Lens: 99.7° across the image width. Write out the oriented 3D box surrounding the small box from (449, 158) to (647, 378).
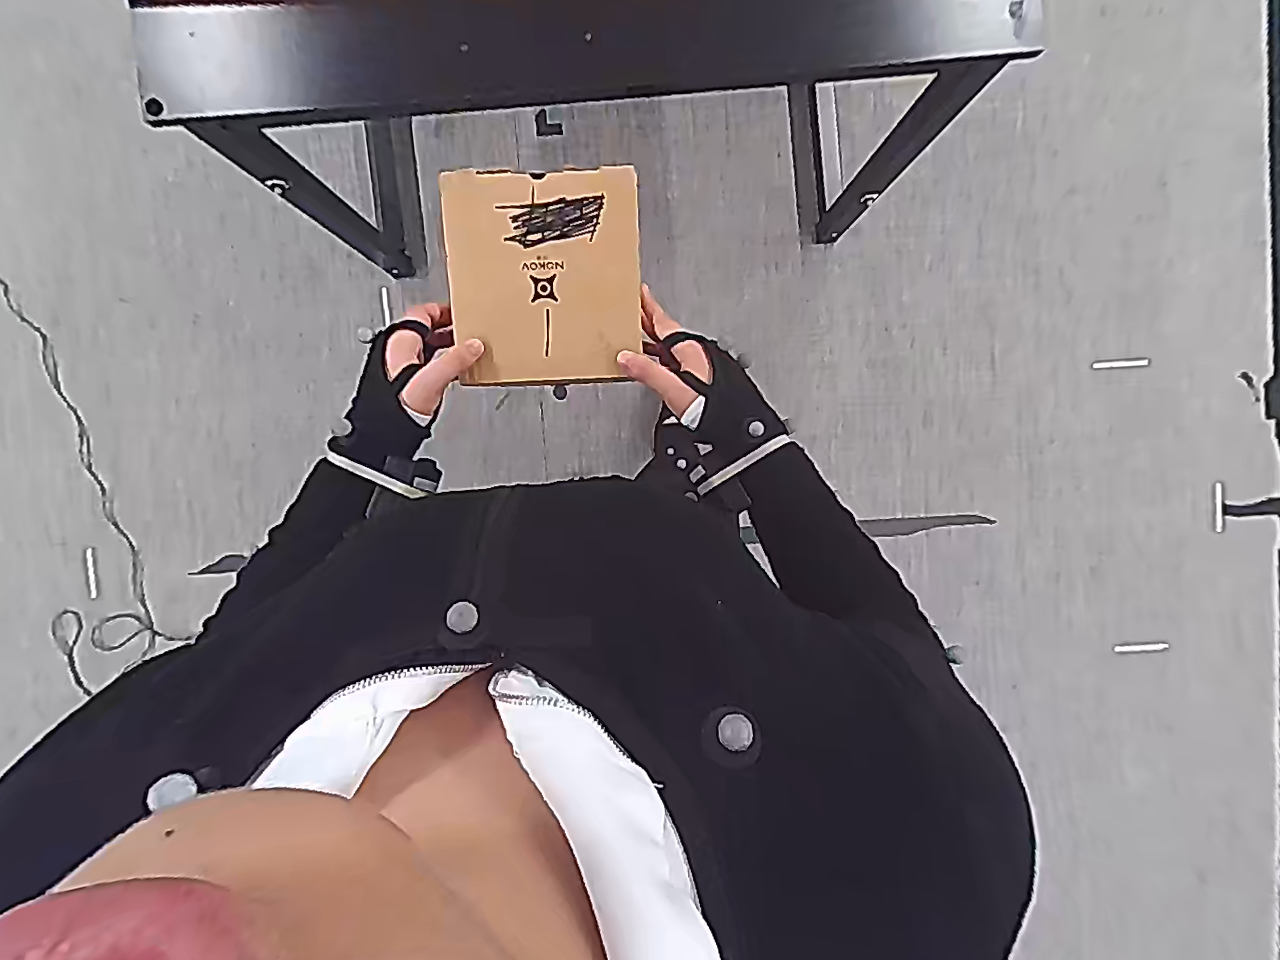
[{"bbox_3d":[-0.080,-0.196,0.545,0.168,0.176,0.179,-2,100,-1],"label":"small box"}]
